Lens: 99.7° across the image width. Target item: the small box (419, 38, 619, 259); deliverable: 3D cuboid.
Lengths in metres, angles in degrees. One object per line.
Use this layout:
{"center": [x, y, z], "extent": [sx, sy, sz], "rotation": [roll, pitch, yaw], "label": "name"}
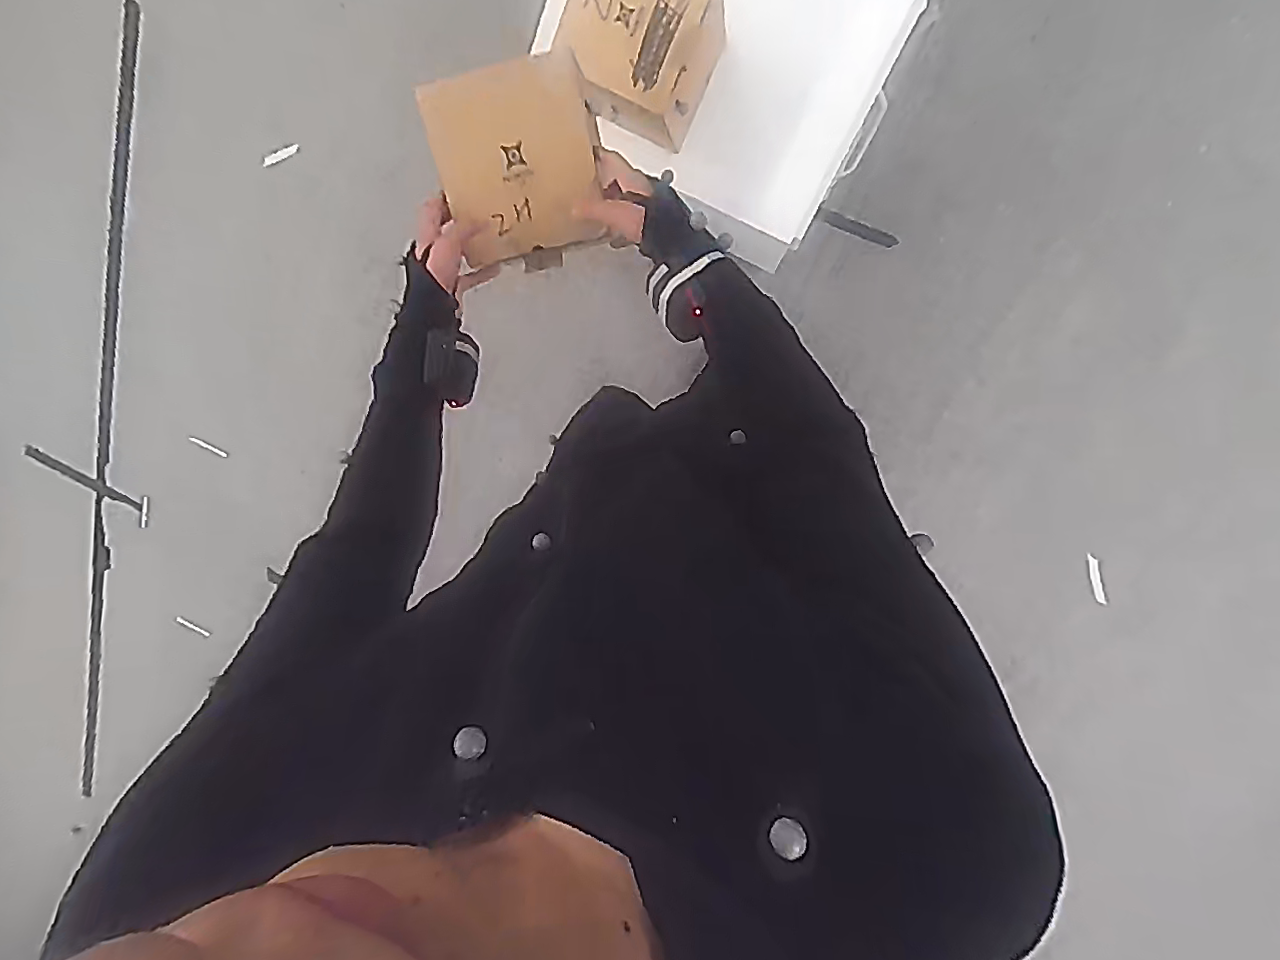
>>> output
{"center": [-0.124, -0.366, 0.634], "extent": [0.168, 0.176, 0.179], "rotation": [-9, 113, 7], "label": "small box"}
